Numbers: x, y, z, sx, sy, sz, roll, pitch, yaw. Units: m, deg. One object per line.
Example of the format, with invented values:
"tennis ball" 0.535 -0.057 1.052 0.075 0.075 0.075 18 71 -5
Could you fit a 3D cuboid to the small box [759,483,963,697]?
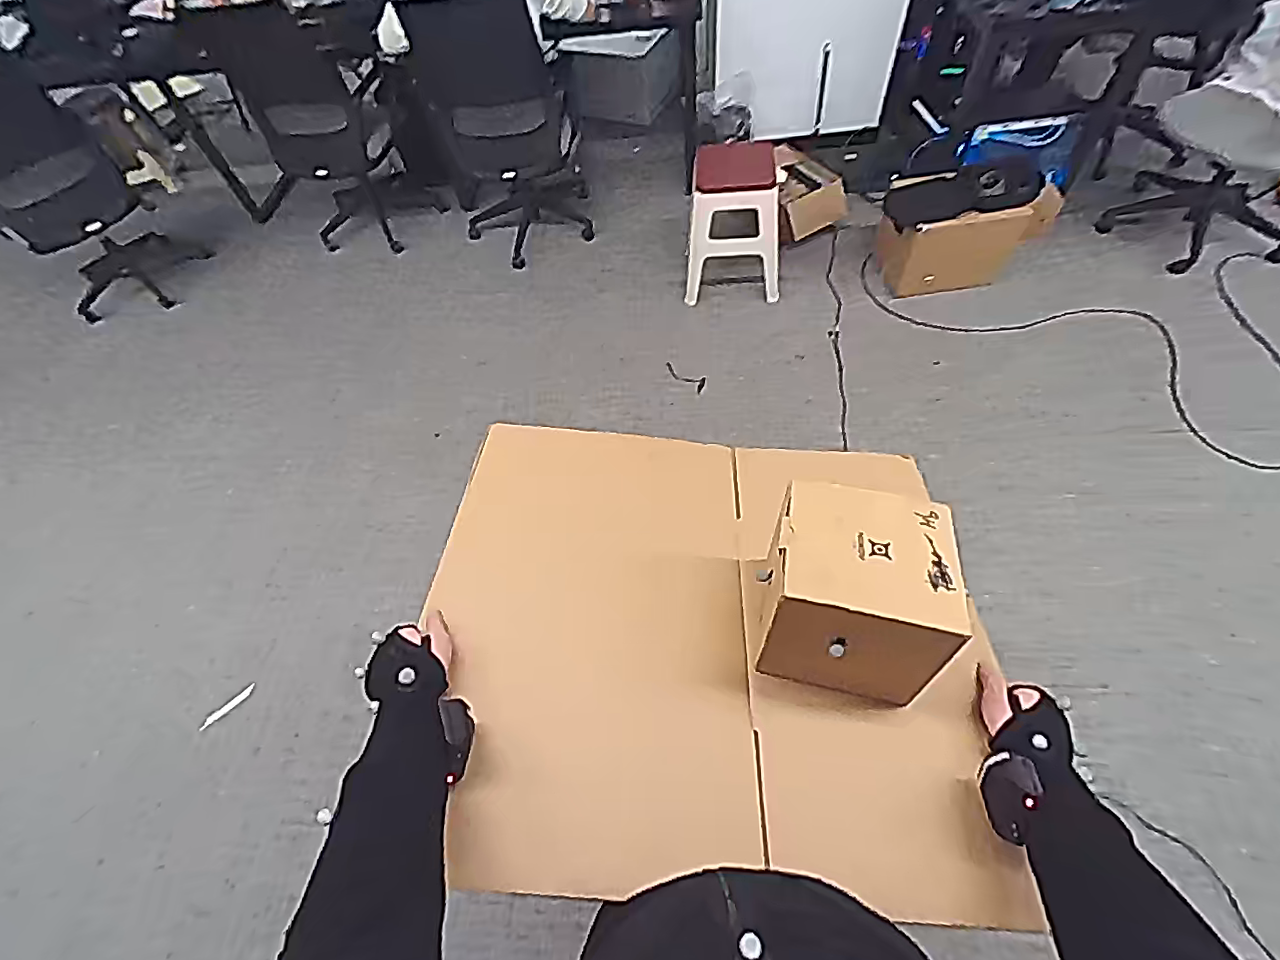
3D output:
"small box" 0.240 0.130 0.630 0.179 0.176 0.168 10 48 10
